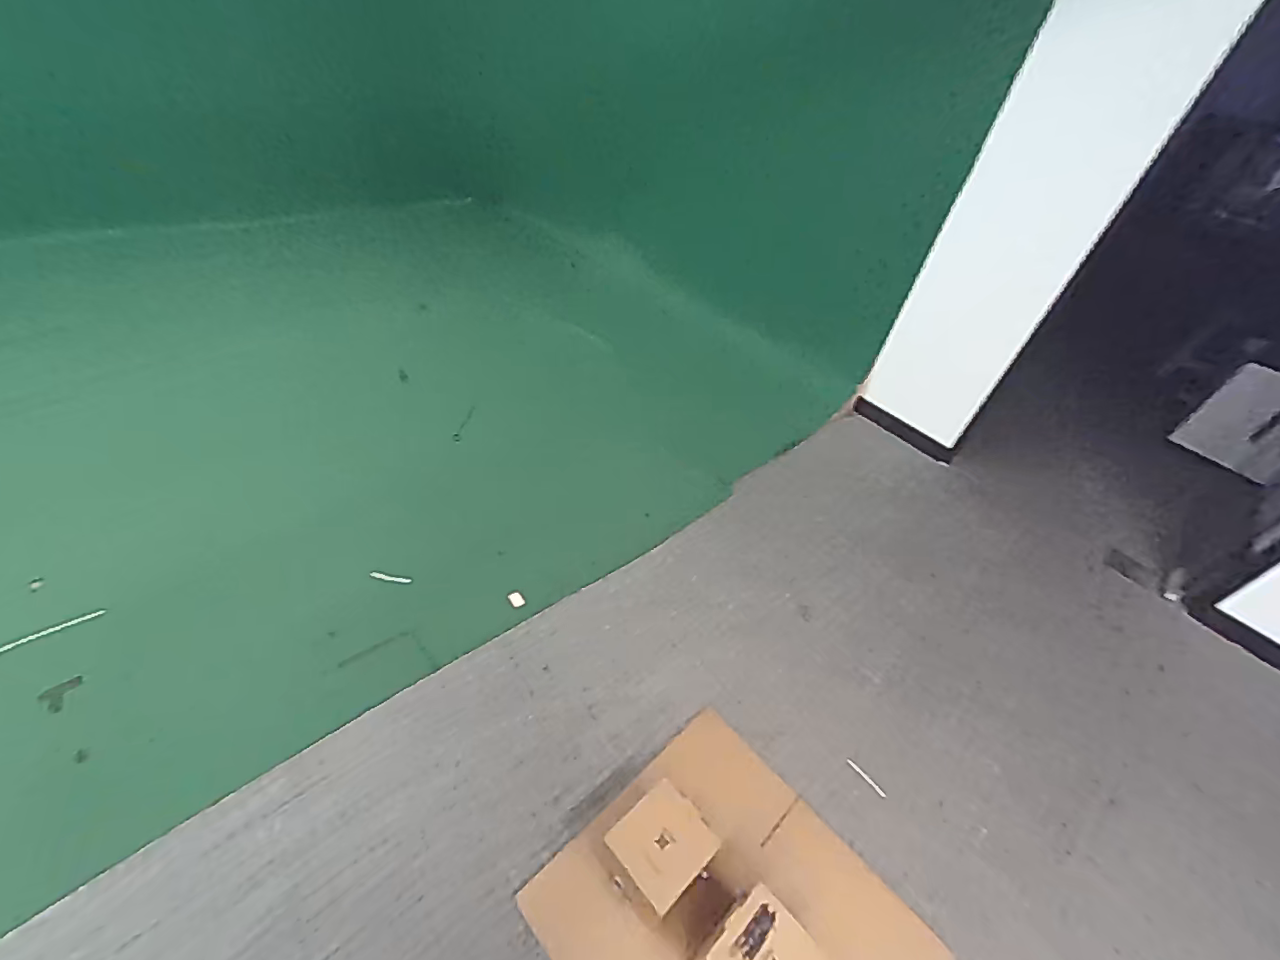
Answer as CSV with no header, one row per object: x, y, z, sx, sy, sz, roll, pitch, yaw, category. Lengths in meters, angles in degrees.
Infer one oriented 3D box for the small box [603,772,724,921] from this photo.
0.040,0.748,1.105,0.179,0.176,0.168,-30,56,-33,small box
